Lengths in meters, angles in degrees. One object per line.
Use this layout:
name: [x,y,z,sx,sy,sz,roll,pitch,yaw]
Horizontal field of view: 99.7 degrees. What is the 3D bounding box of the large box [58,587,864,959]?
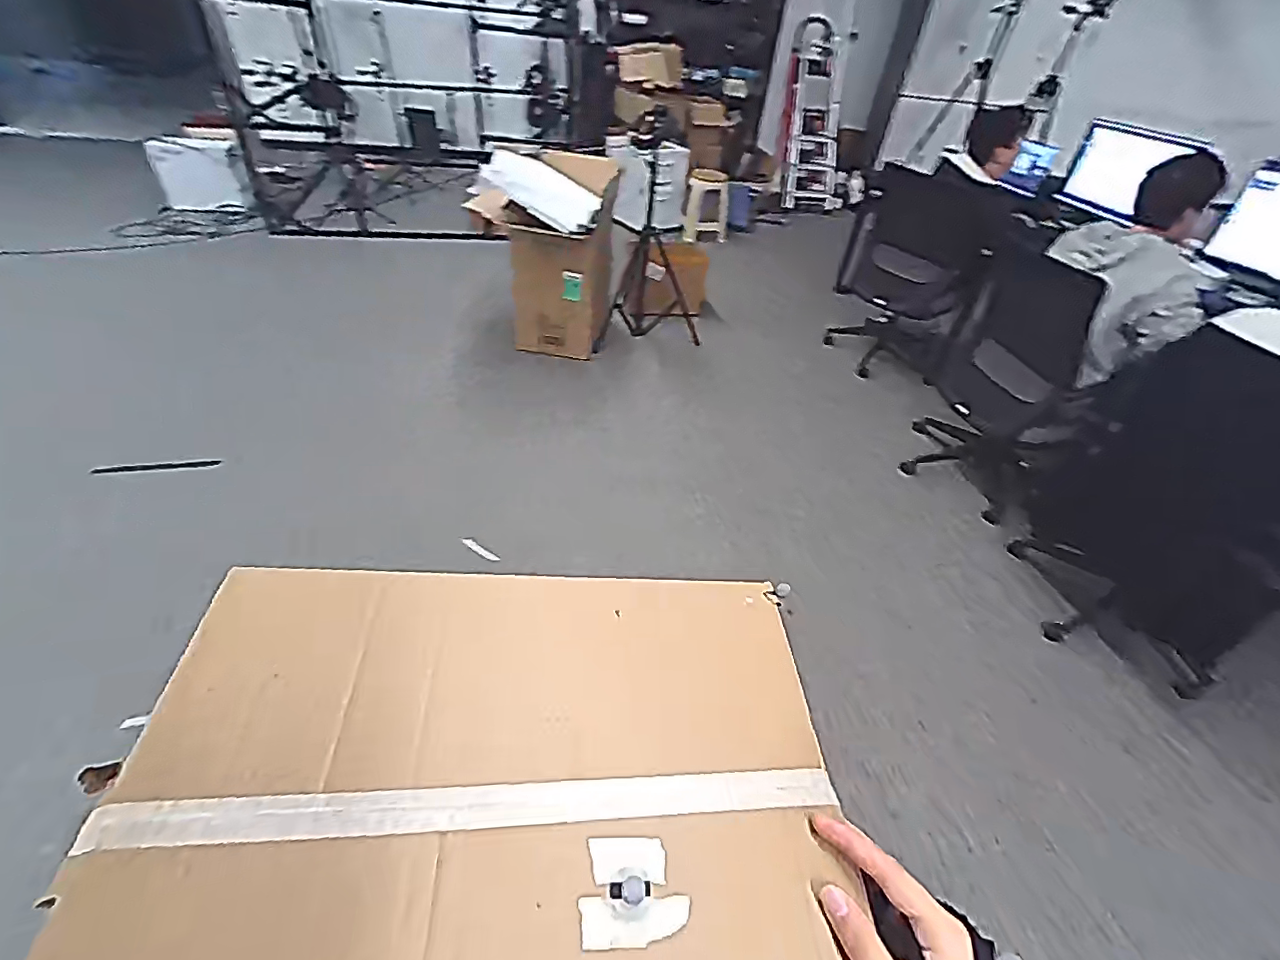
large box: [-0.107,0.300,0.423,0.408,0.320,0.320,4,46,-12]
